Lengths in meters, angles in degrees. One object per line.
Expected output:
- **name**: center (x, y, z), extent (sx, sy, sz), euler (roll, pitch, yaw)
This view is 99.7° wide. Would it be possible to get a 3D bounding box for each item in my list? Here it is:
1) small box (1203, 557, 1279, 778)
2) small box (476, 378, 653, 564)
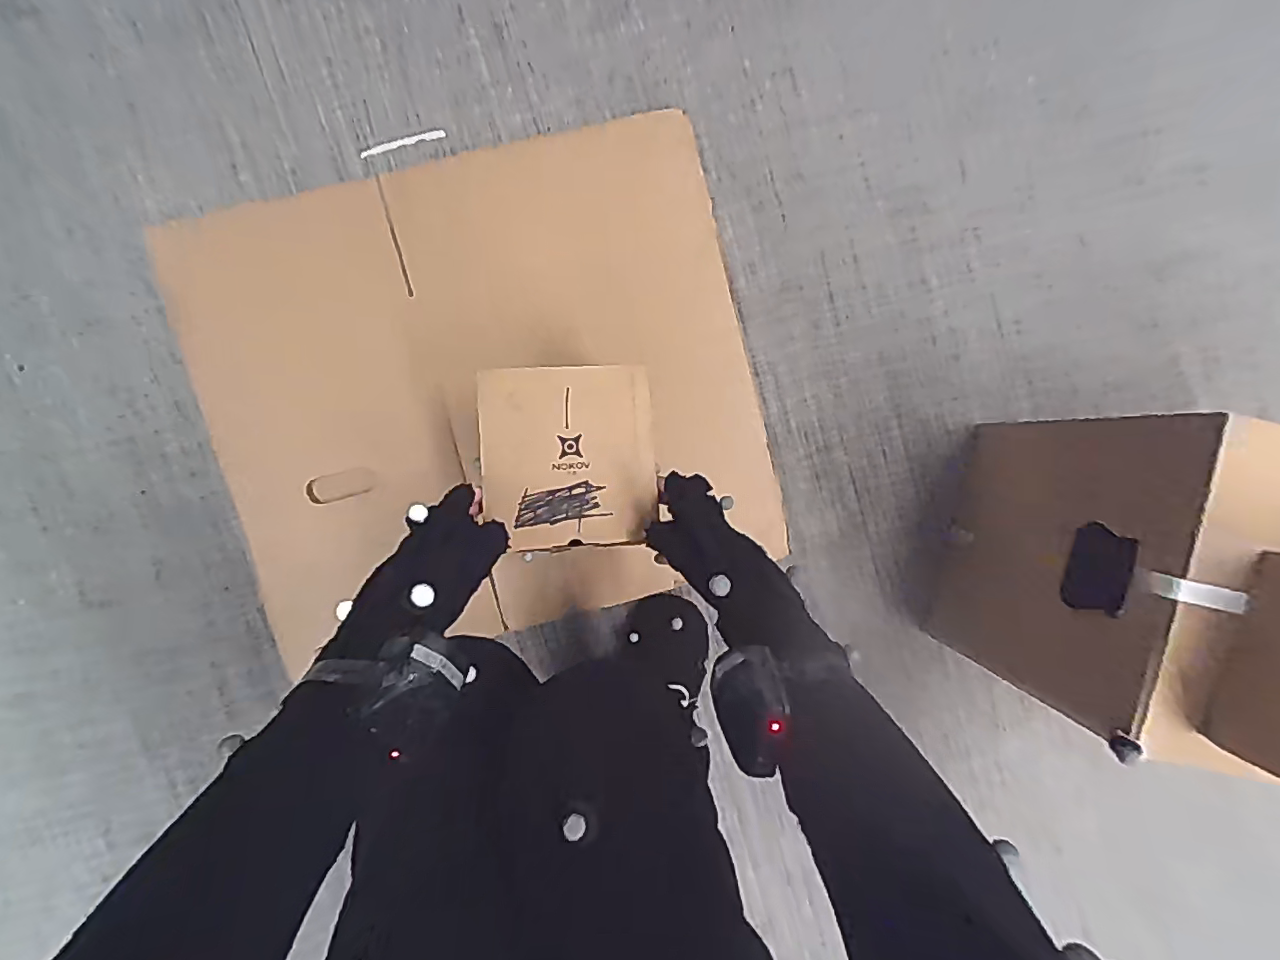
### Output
- **small box**: center (0.586, 0.168, 0.394), extent (0.168, 0.176, 0.179), euler (14, 94, -3)
- **small box**: center (-0.083, -0.004, 0.599), extent (0.168, 0.176, 0.179), euler (-3, 83, -9)
